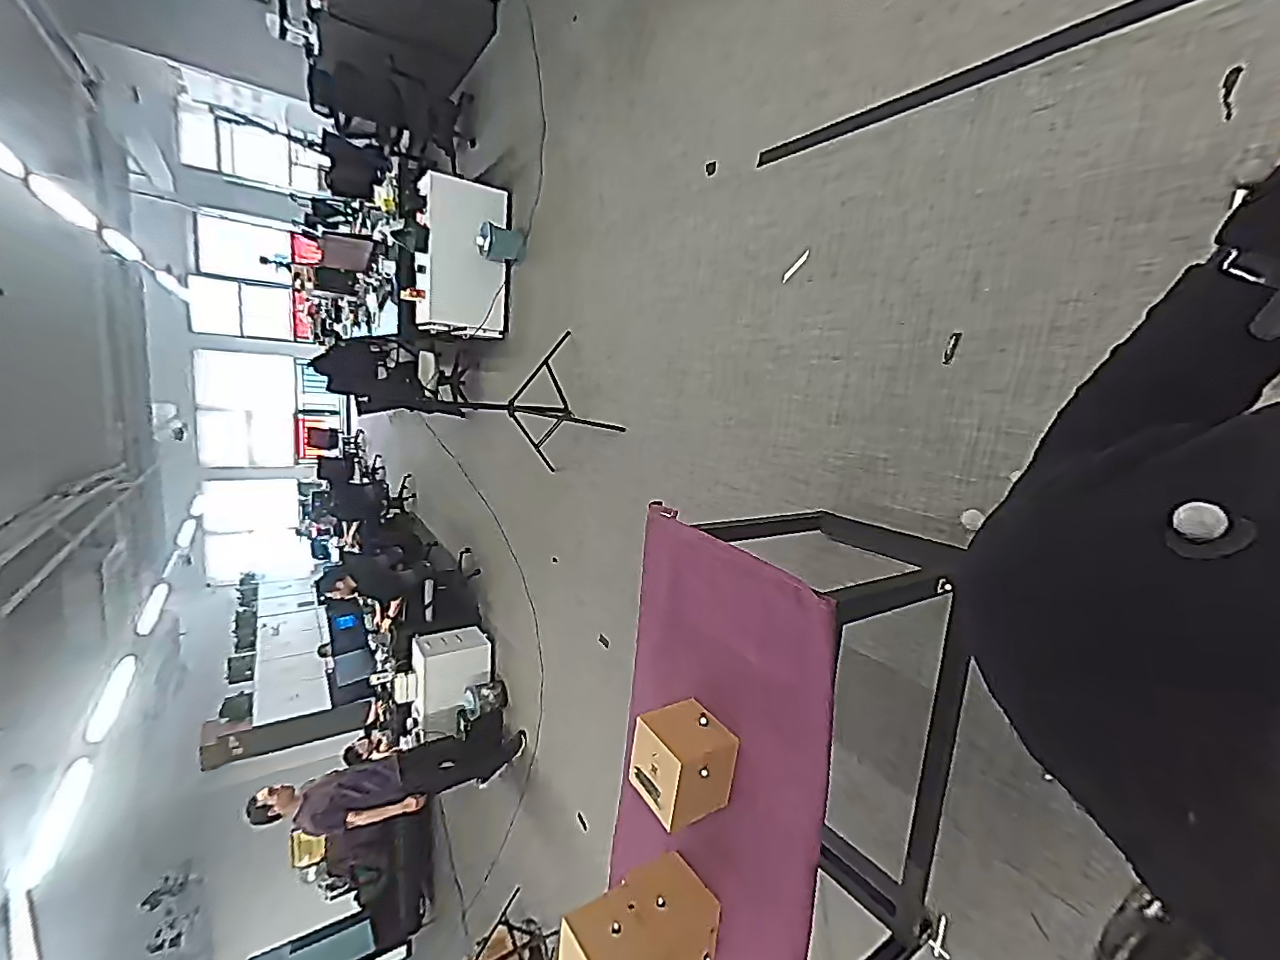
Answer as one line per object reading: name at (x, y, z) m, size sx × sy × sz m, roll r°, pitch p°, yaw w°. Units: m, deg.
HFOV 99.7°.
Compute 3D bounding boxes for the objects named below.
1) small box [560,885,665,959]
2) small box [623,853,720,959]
small box at (-0.061, 1.056, 1.193) m, size 0.168 × 0.176 × 0.179 m, roll 18°, pitch 107°, yaw 54°
small box at (0.070, 1.047, 1.293) m, size 0.179 × 0.176 × 0.168 m, roll 19°, pitch 107°, yaw 54°
